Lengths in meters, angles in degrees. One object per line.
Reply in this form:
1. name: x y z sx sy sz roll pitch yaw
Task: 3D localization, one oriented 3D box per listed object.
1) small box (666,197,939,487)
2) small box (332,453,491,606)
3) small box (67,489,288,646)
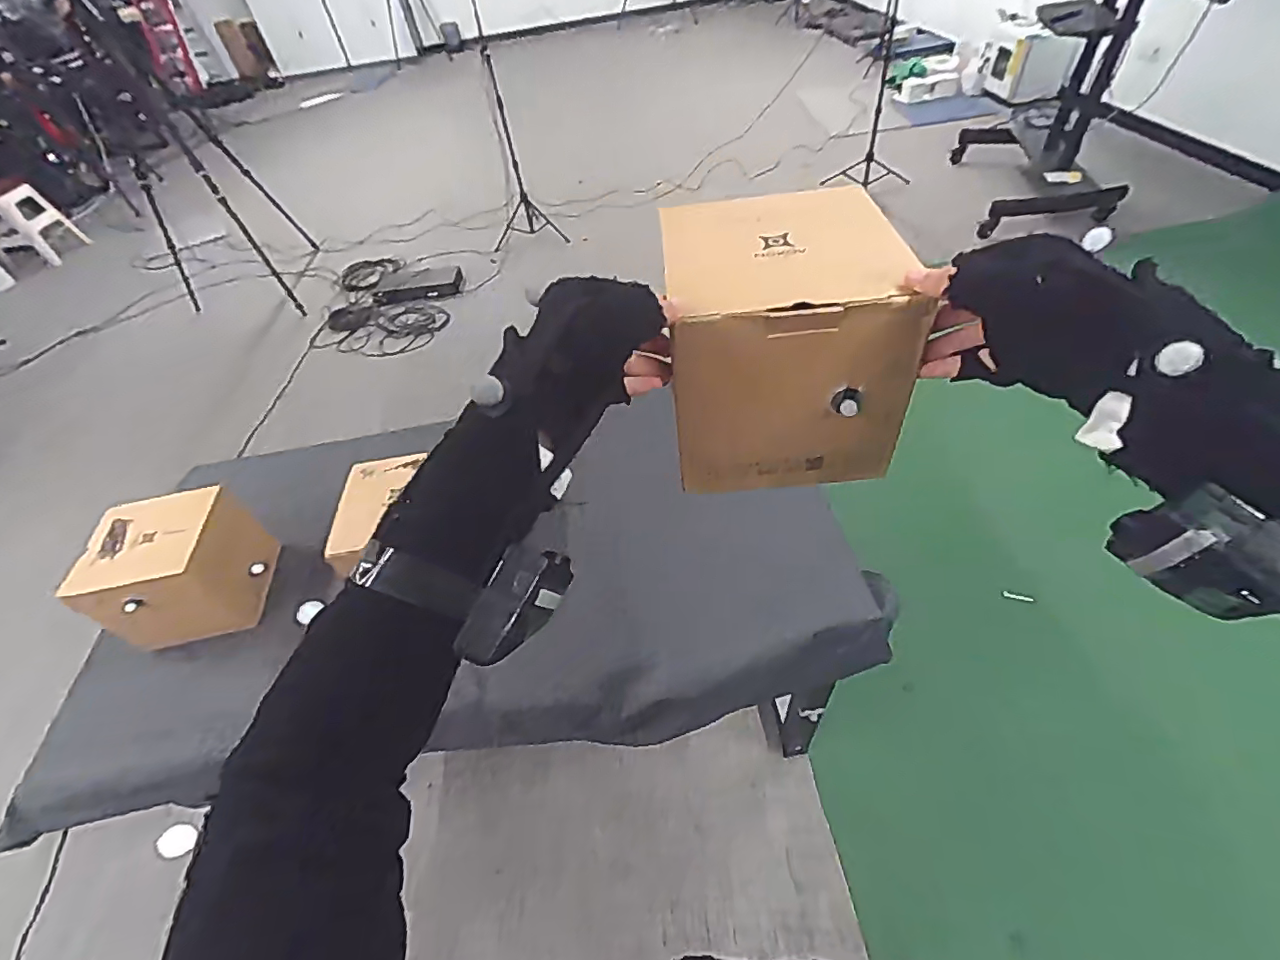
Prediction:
1. small box: 0.112 -0.107 0.448 0.168 0.176 0.179 -5 46 4
2. small box: -0.344 0.085 0.855 0.168 0.176 0.179 -9 49 1
3. small box: -0.710 0.142 0.857 0.179 0.176 0.168 -12 49 -3
